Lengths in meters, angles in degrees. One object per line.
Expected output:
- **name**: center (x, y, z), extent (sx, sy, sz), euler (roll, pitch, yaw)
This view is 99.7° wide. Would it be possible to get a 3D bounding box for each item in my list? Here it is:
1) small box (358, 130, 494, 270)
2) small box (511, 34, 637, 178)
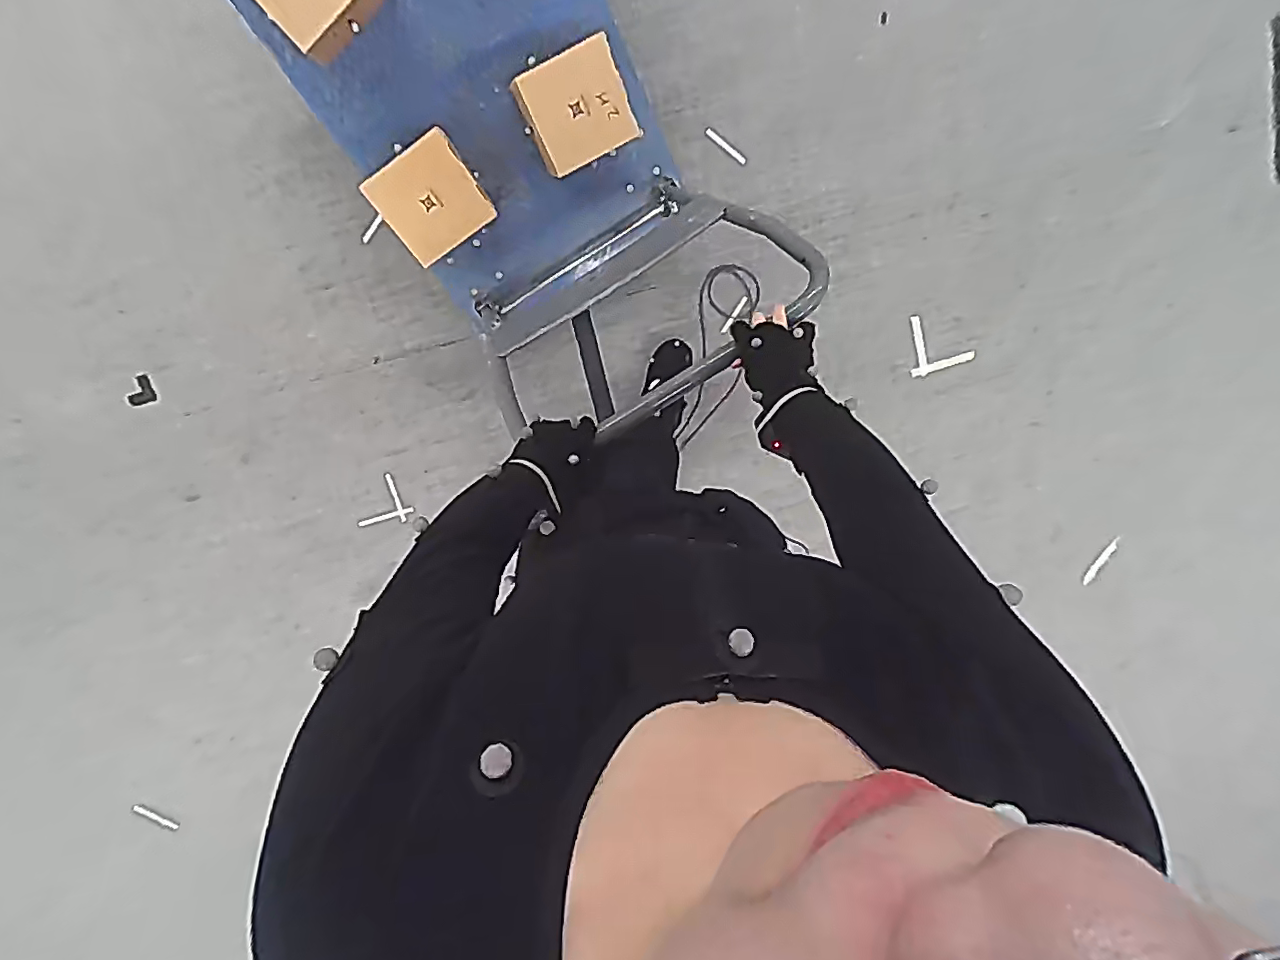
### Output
- **small box**: center (-0.403, -0.537, 1.044), extent (0.179, 0.176, 0.168), euler (-36, 124, 4)
- **small box**: center (-0.130, -0.700, 1.030), extent (0.179, 0.176, 0.168), euler (-28, 124, 1)
